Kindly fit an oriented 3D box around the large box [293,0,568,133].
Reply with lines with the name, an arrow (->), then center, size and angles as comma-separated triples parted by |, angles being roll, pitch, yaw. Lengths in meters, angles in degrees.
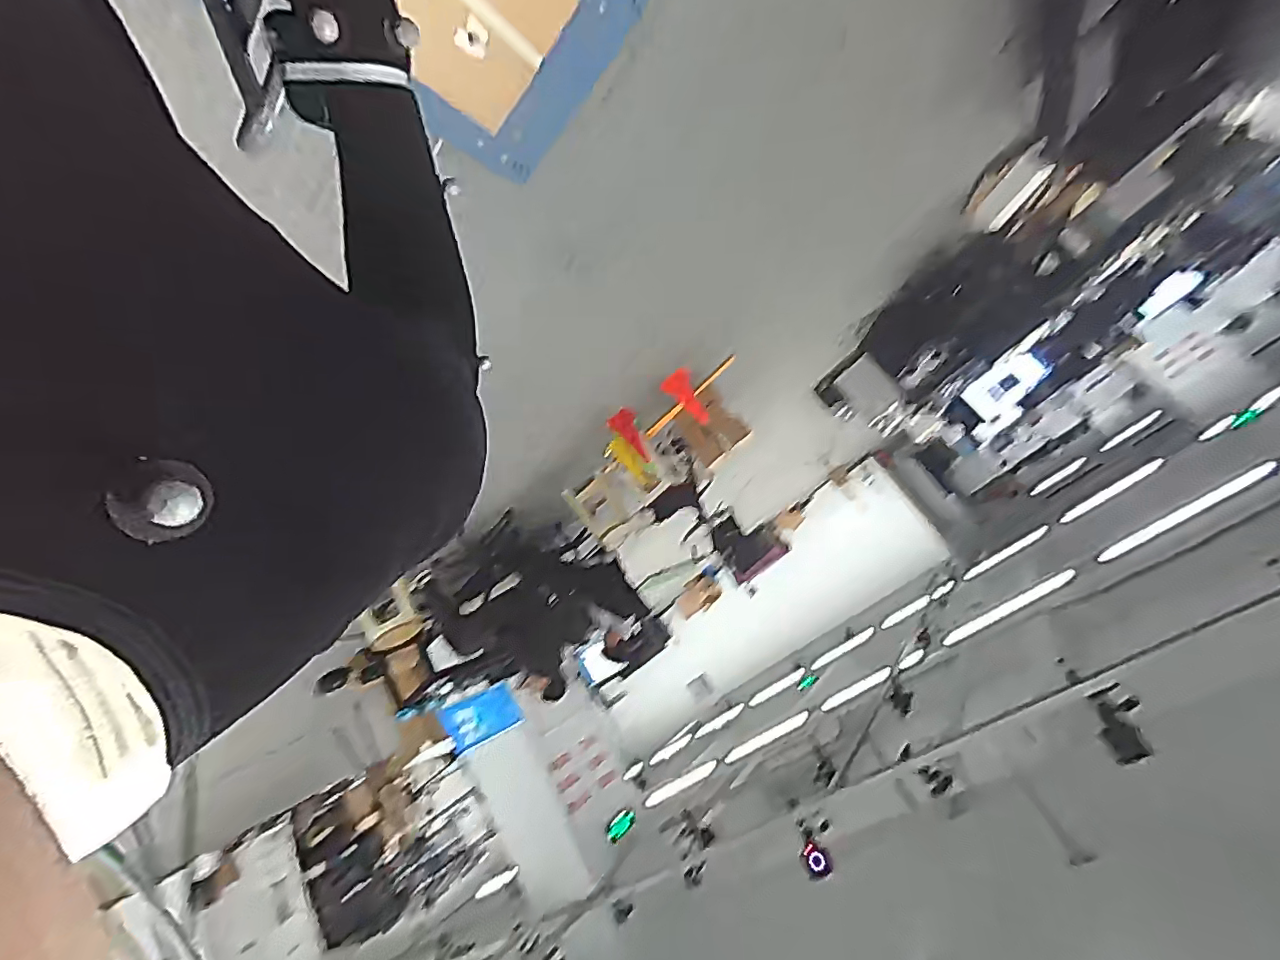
large box -> -0.397, -0.909, 0.911 | 0.320, 0.320, 0.408 | -42, 160, 23
